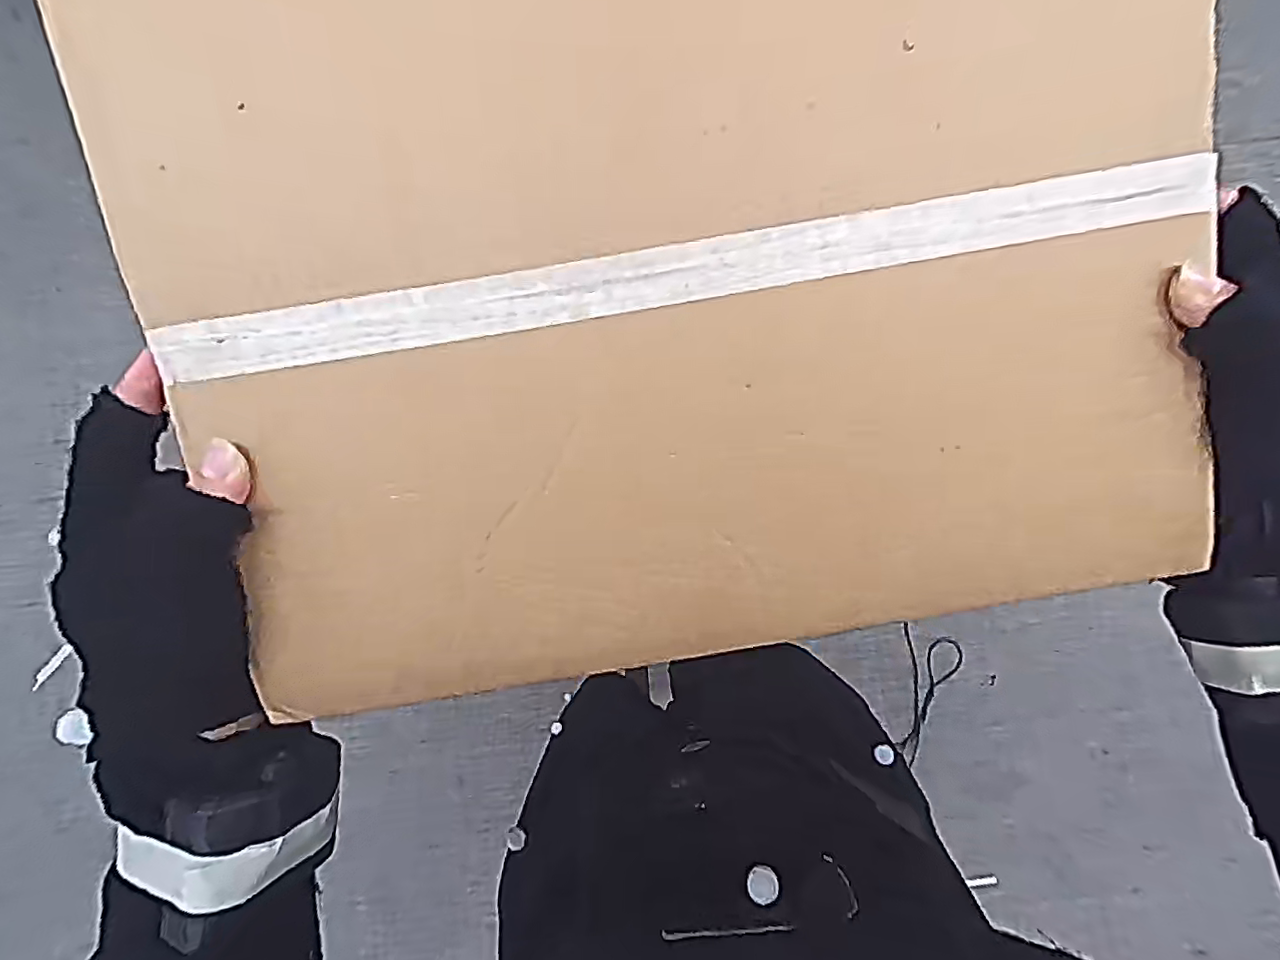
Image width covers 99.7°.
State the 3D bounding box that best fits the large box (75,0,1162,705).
[{"bbox_3d":[0.009,-0.105,0.366,0.408,0.320,0.320,-9,99,-1],"label":"large box"}]
